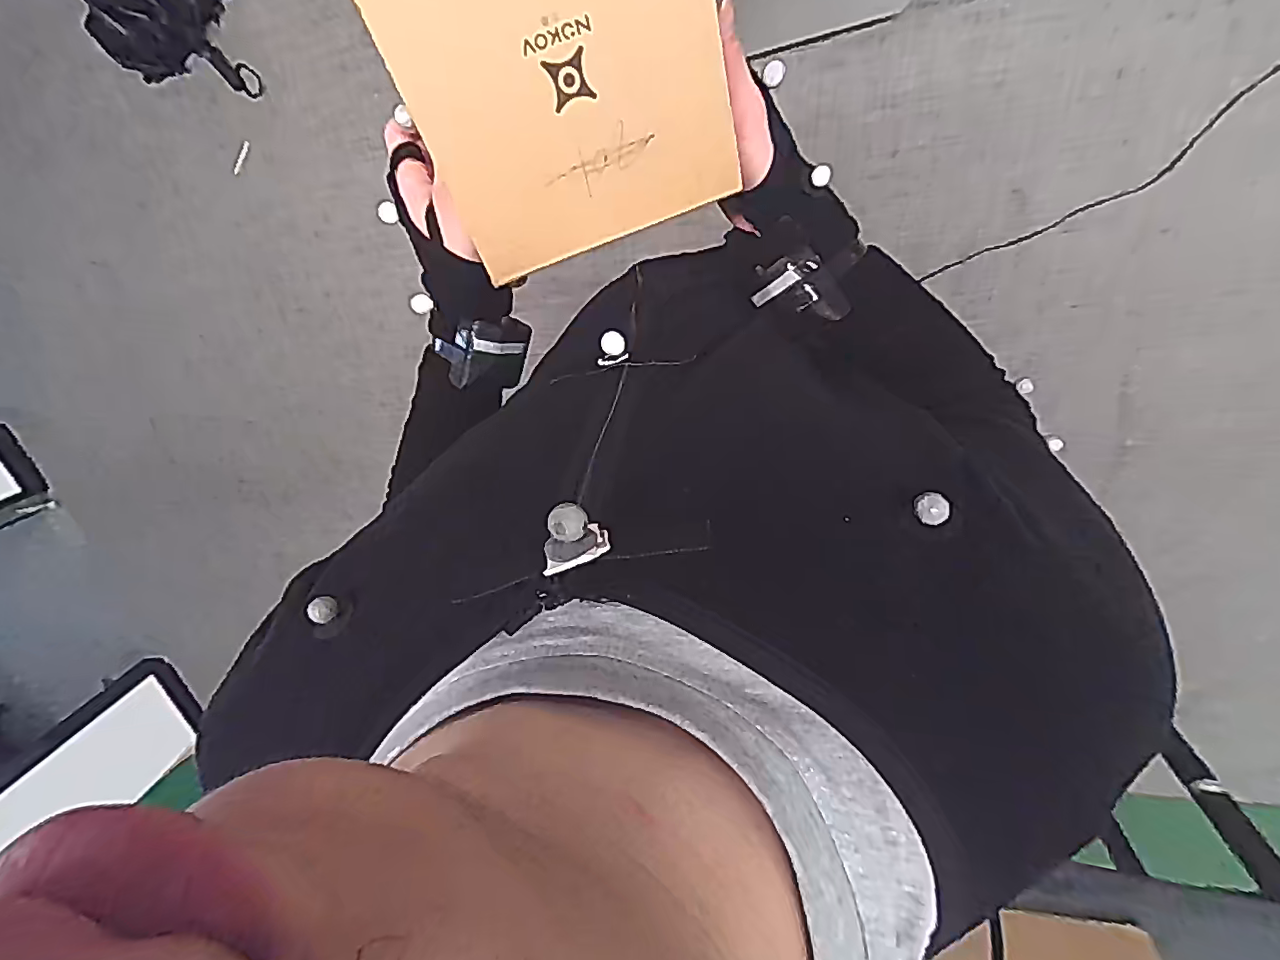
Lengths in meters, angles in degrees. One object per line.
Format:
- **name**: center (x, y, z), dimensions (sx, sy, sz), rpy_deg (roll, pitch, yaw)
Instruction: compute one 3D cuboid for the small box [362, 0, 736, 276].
- **small box**: center (-0.056, -0.262, 0.335), dimensions (0.168, 0.176, 0.179), rpy_deg (-20, 133, 2)
